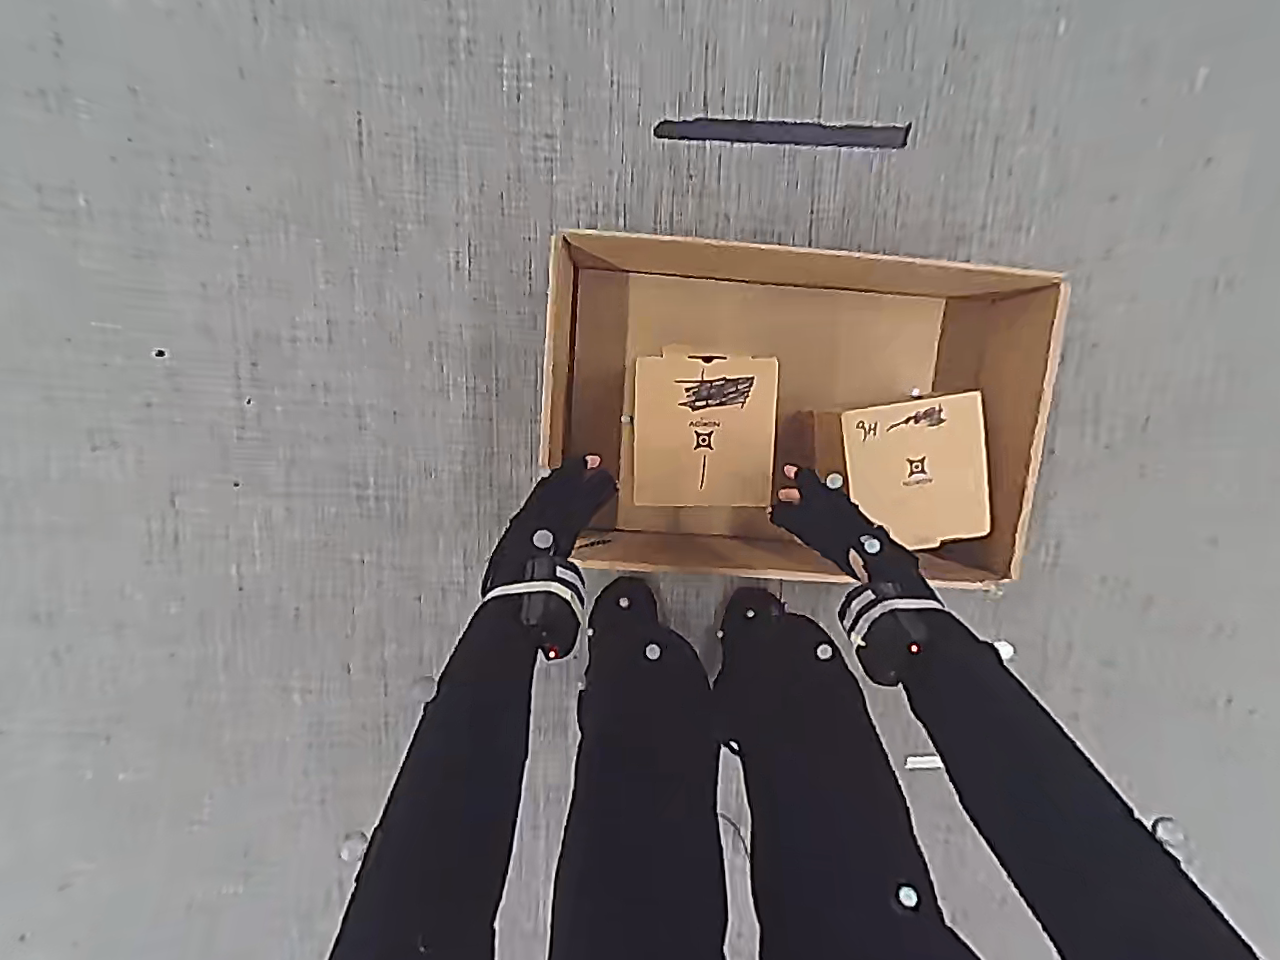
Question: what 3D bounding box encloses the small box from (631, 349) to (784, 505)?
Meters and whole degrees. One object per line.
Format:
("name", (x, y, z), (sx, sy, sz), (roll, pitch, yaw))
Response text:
("small box", (0.075, -0.069, 0.697), (0.168, 0.176, 0.179), (1, 99, -3))
